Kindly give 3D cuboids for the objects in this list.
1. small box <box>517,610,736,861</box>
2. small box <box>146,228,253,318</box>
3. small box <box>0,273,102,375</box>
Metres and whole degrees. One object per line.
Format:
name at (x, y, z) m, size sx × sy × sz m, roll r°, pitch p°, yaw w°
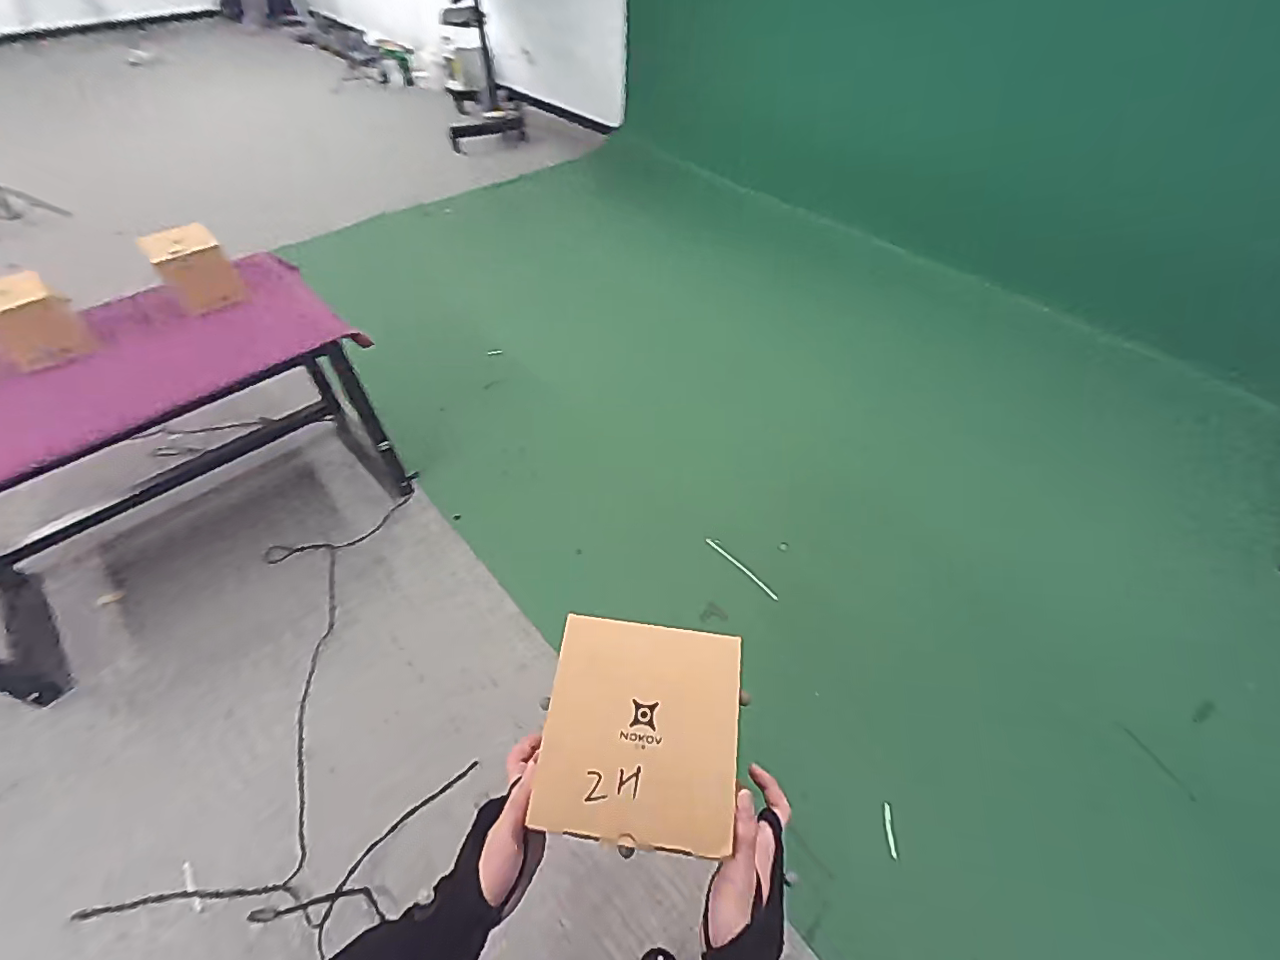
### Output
small box at (-0.005, 0.245, 0.523) m, size 0.168 × 0.176 × 0.179 m, roll 6°, pitch 59°, yaw 4°
small box at (-1.278, -0.601, 1.576) m, size 0.168 × 0.176 × 0.179 m, roll -35°, pitch 57°, yaw -25°
small box at (-1.562, -0.401, 1.401) m, size 0.168 × 0.176 × 0.179 m, roll -36°, pitch 59°, yaw -27°
